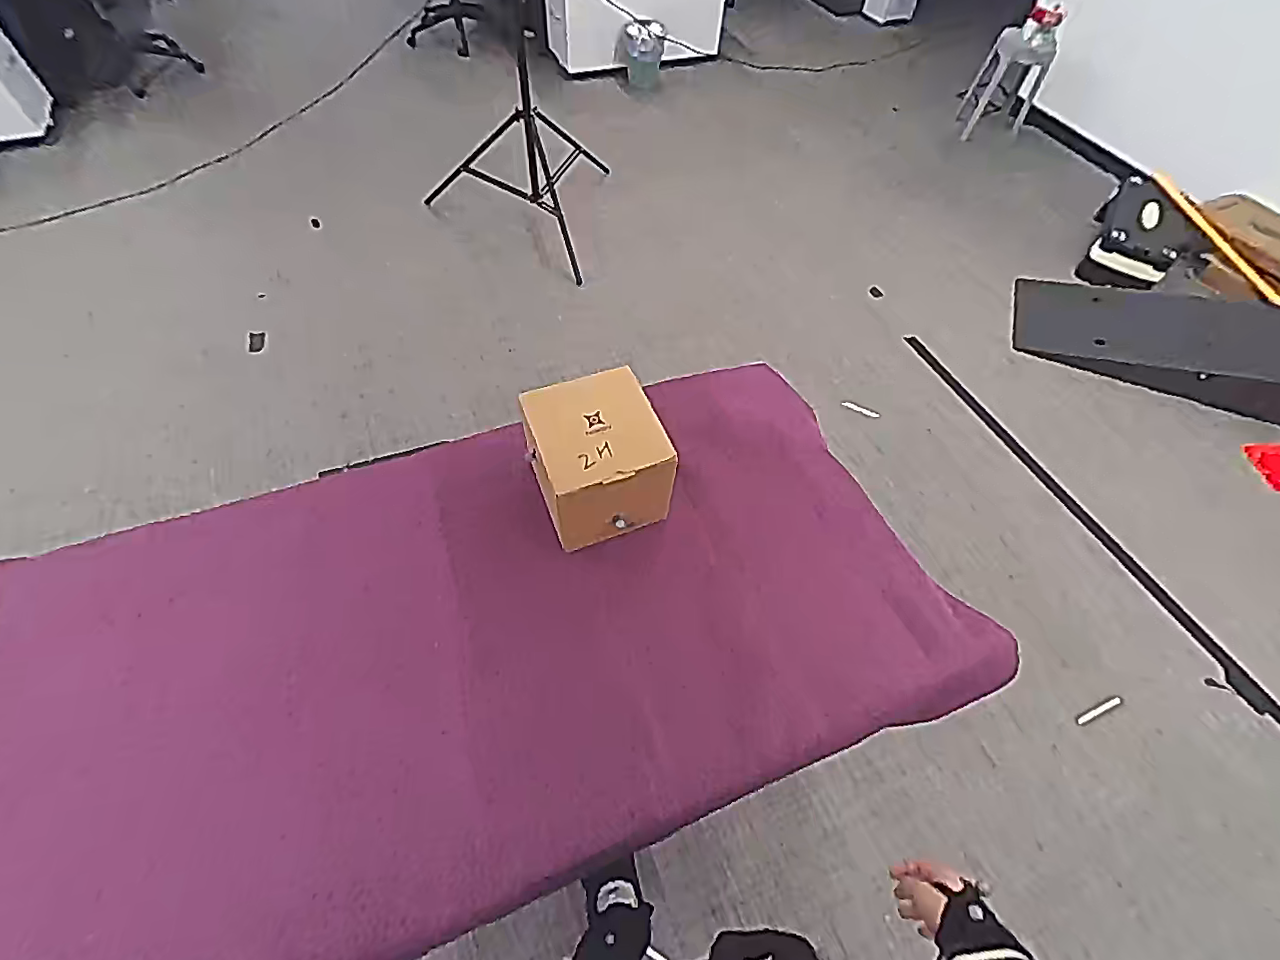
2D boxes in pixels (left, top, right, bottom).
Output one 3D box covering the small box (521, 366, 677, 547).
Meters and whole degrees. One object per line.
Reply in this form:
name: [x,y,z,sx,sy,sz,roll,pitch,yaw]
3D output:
small box: [-0.063,-0.031,0.783,0.168,0.176,0.179,-18,61,-14]
